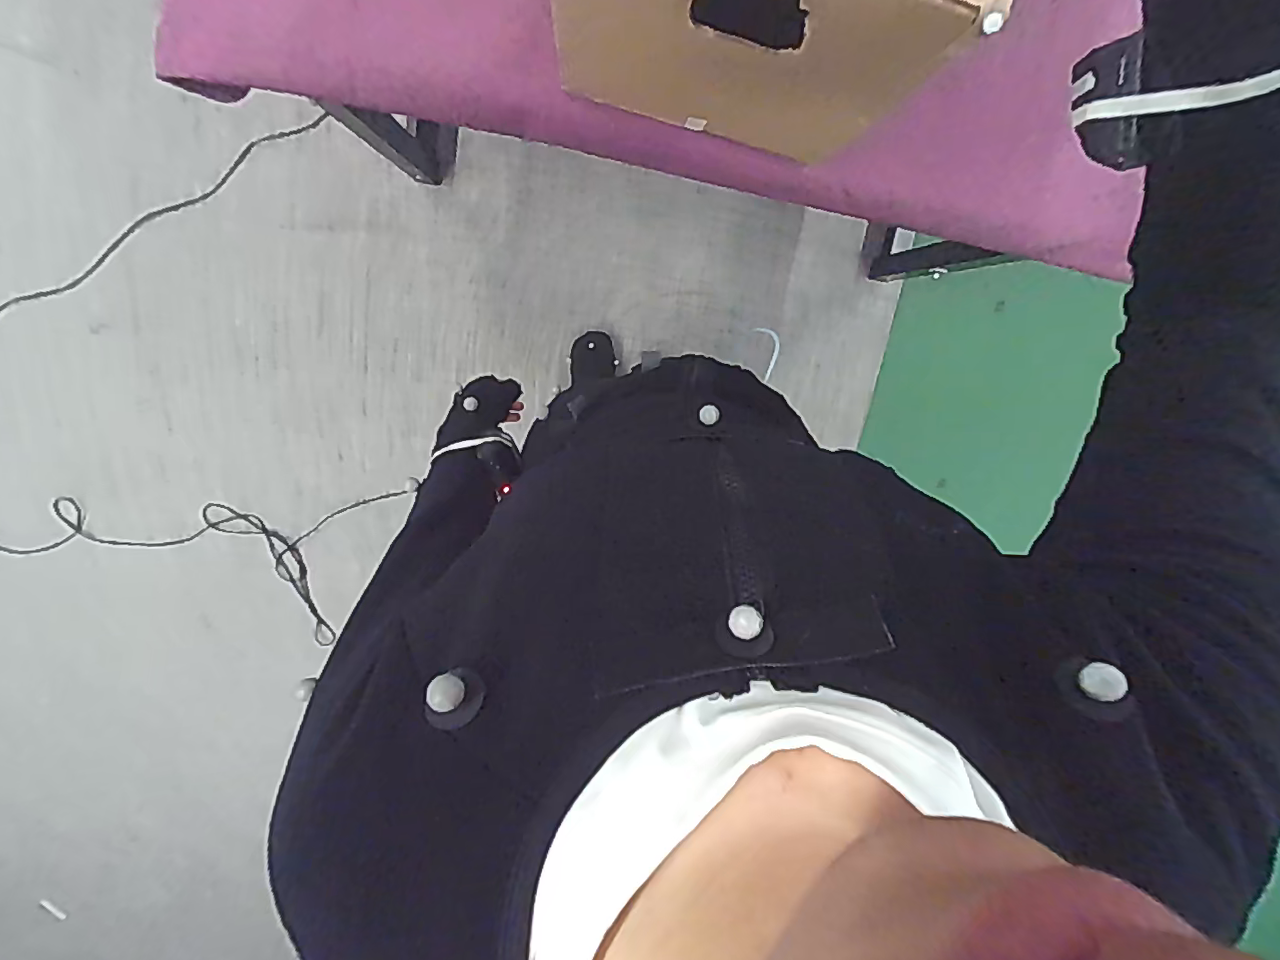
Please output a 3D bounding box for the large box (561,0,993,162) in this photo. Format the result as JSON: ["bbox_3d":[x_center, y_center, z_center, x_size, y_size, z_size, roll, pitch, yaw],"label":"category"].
[{"bbox_3d":[0.118,-0.562,0.452,0.320,0.320,0.408,11,105,-7],"label":"large box"}]
